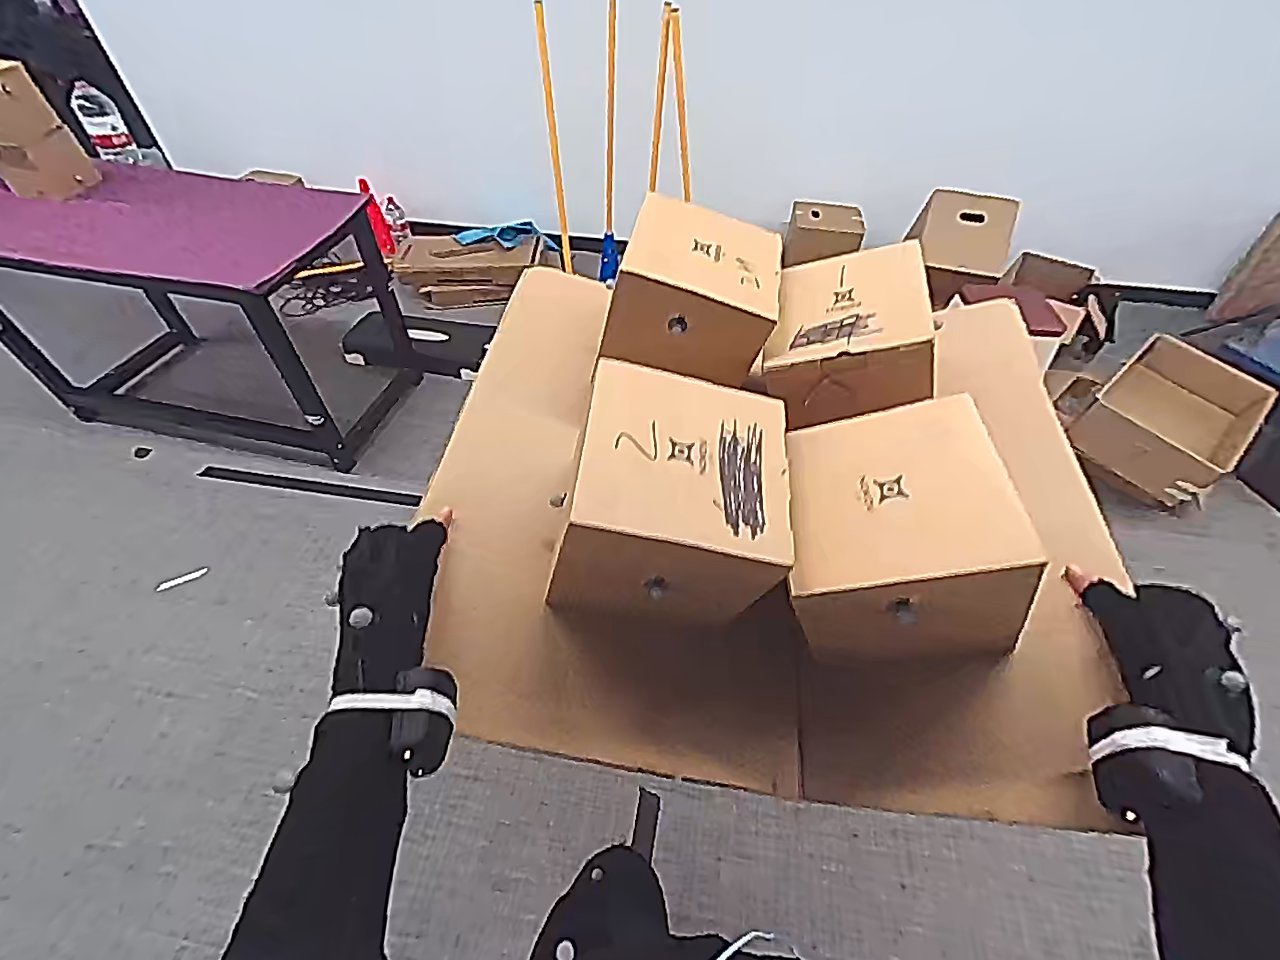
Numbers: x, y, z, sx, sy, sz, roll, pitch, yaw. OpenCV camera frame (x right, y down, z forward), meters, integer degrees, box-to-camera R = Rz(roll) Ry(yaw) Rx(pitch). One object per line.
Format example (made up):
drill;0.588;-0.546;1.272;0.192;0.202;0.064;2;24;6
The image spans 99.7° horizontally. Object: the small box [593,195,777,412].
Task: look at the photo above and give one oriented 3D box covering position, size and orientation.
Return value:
small box;0.051;-0.210;0.670;0.179;0.176;0.168;17;55;-5
